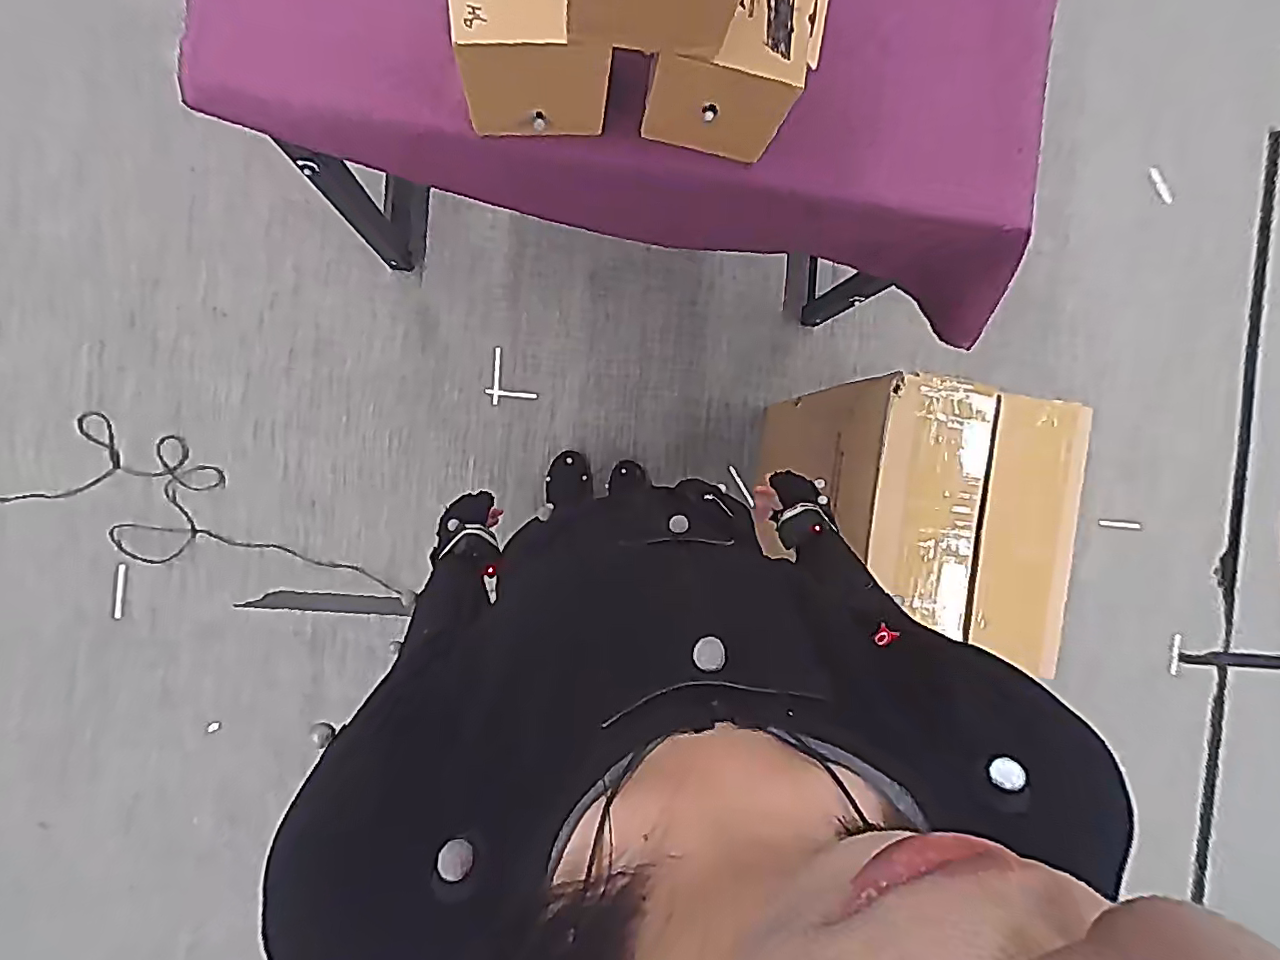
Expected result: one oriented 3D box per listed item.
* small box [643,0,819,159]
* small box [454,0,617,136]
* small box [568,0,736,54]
[{"bbox_3d":[0.111,-0.554,0.703,0.179,0.176,0.168,9,90,-7],"label":"small box"},{"bbox_3d":[-0.132,-0.558,0.670,0.179,0.176,0.168,-6,92,-9],"label":"small box"},{"bbox_3d":[0.019,-0.562,0.526,0.179,0.176,0.168,1,92,-9],"label":"small box"}]
